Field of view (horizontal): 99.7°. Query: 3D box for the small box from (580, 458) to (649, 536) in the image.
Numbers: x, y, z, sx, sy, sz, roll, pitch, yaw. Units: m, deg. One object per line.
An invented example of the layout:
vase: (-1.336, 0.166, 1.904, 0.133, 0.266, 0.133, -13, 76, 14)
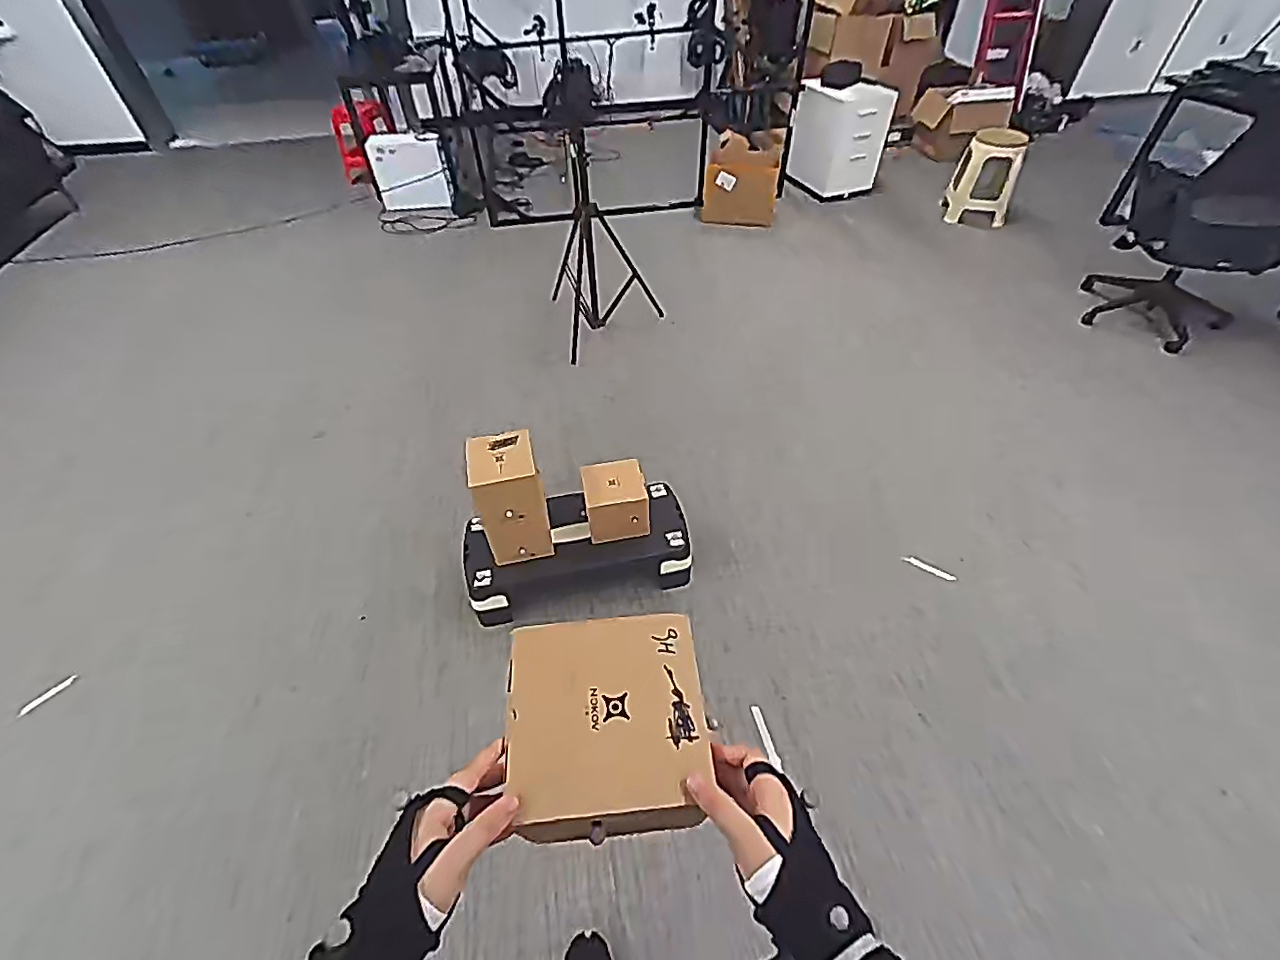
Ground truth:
small box: (-0.073, 0.063, 1.588, 0.179, 0.176, 0.168, -11, 48, -6)

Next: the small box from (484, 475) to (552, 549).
small box: (-0.347, 0.114, 1.546, 0.168, 0.176, 0.179, -11, 48, -8)

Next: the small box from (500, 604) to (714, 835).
small box: (-0.030, 0.244, 0.542, 0.179, 0.176, 0.168, -5, 52, -3)

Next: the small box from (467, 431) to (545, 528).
small box: (-0.353, -0.001, 1.428, 0.168, 0.176, 0.179, -12, 49, -9)
